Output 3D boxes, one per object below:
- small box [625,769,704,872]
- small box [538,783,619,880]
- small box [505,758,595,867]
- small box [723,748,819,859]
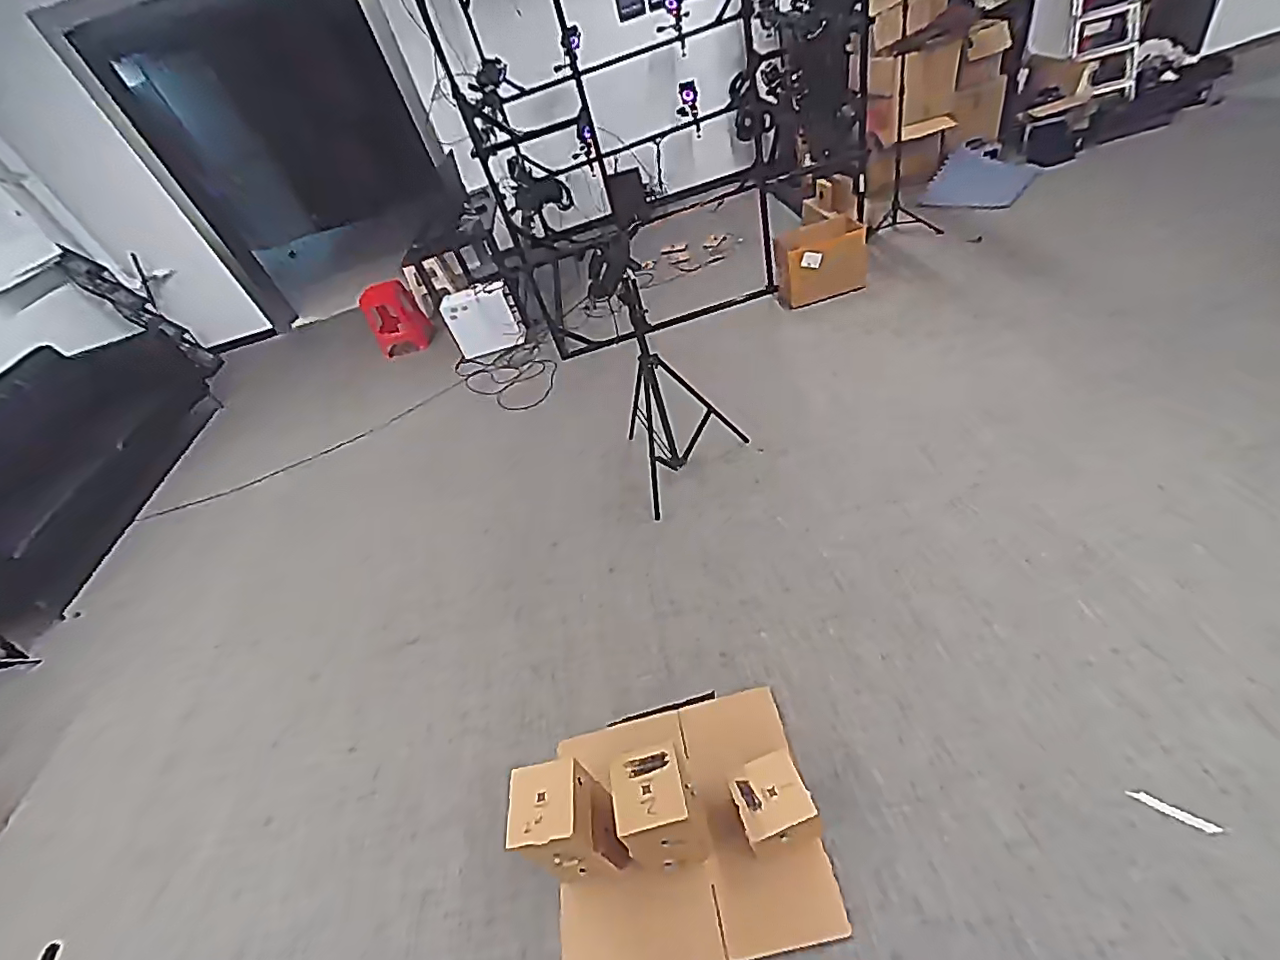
[{"bbox_3d":[0.062,0.880,1.397,0.168,0.176,0.179,-14,42,6],"label":"small box"},{"bbox_3d":[-0.160,0.932,1.427,0.168,0.176,0.179,-16,42,6],"label":"small box"},{"bbox_3d":[-0.213,0.815,1.324,0.168,0.176,0.179,-15,42,7],"label":"small box"},{"bbox_3d":[0.332,0.817,1.359,0.179,0.176,0.168,-22,42,-3],"label":"small box"}]
